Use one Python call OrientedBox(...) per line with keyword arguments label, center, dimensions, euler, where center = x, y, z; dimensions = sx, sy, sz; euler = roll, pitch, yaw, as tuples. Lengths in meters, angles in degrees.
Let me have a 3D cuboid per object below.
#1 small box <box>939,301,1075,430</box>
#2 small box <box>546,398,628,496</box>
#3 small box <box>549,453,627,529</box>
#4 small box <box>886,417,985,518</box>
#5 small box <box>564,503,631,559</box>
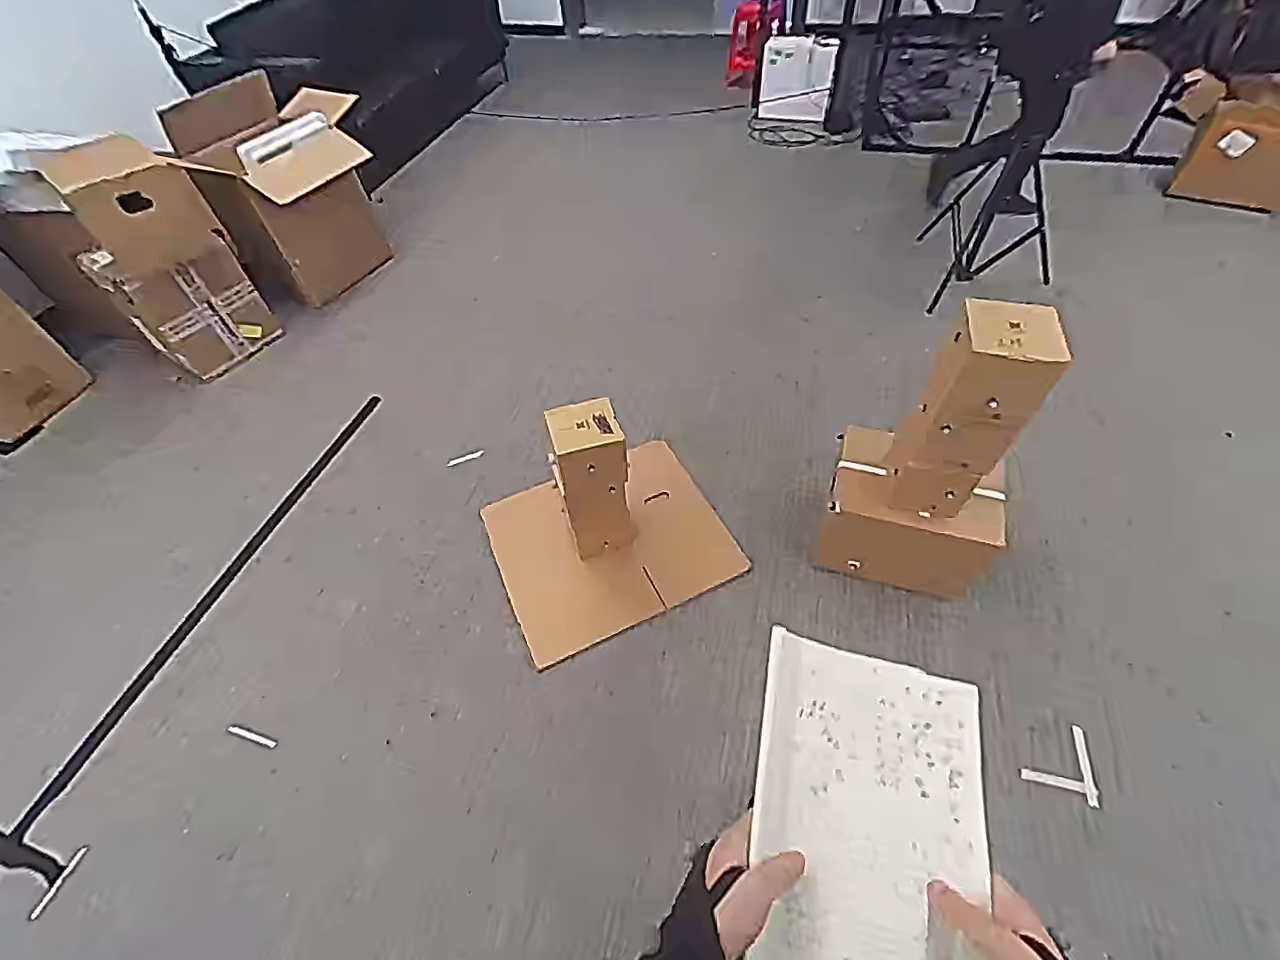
OrientedBox(label="small box", center=(0.716, -0.229, 1.080), dimensions=(0.168, 0.176, 0.179), euler=(11, 54, 12))
OrientedBox(label="small box", center=(-0.135, -0.083, 1.408), dimensions=(0.179, 0.176, 0.168), euler=(-14, 52, -9))
OrientedBox(label="small box", center=(-0.145, 0.015, 1.542), dimensions=(0.179, 0.176, 0.168), euler=(-16, 52, -12))
OrientedBox(label="small box", center=(0.723, -0.028, 1.341), dimensions=(0.168, 0.176, 0.179), euler=(9, 53, 10))
OrientedBox(label="small box", center=(-0.135, 0.115, 1.670), dimensions=(0.179, 0.176, 0.168), euler=(-17, 53, -13))
